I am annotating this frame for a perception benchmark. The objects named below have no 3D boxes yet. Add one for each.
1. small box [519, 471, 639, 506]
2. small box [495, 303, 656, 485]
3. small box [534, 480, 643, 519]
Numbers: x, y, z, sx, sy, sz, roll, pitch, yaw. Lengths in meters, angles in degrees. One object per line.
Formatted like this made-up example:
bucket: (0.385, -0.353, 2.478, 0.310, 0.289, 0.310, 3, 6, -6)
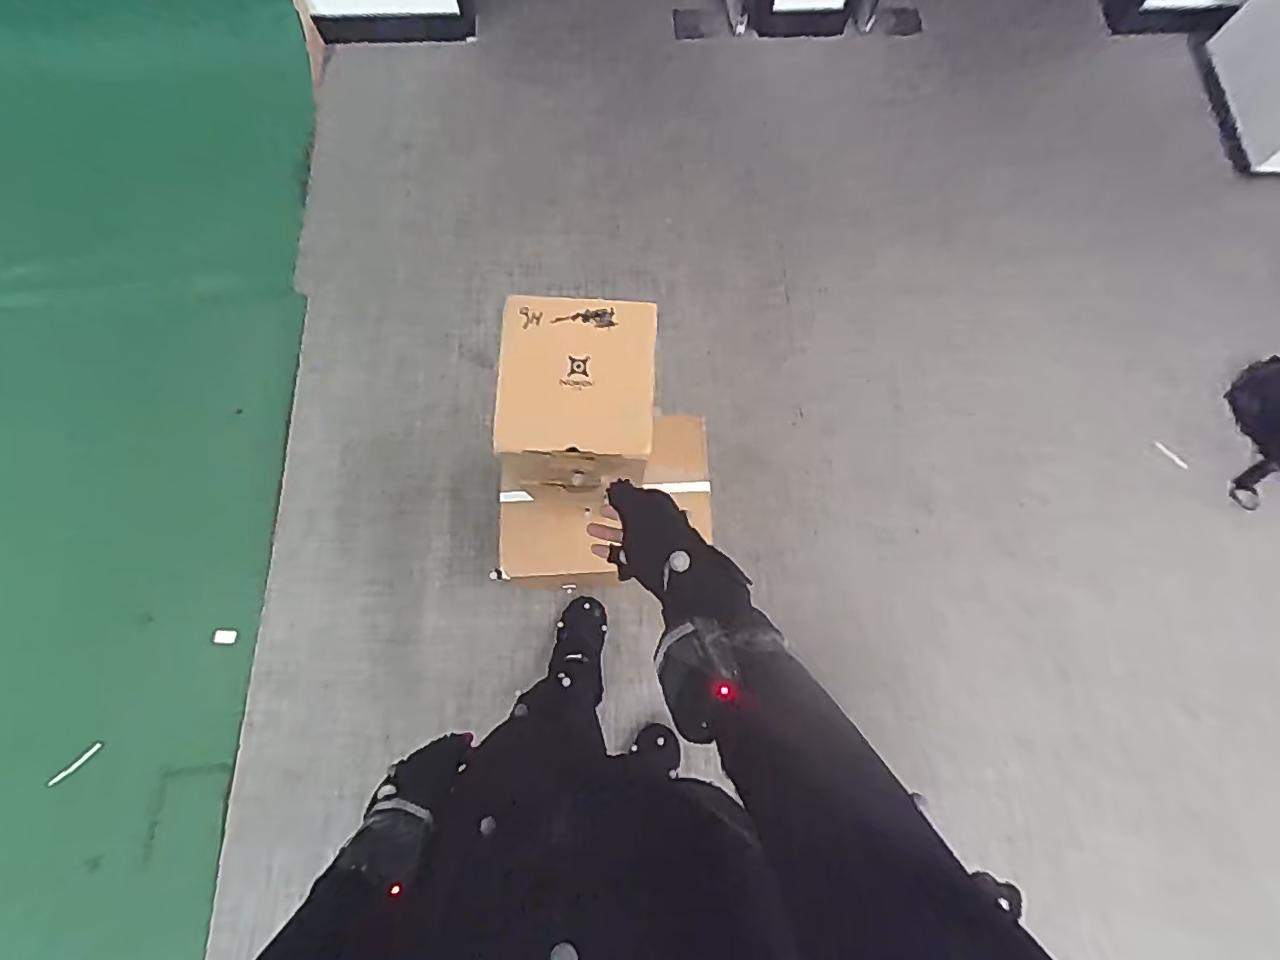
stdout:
small box: (-0.083, -0.057, 0.816, 0.168, 0.176, 0.179, 1, 78, -3)
small box: (-0.069, -0.091, 0.657, 0.168, 0.176, 0.179, 3, 80, -2)
small box: (-0.083, -0.024, 0.972, 0.179, 0.176, 0.168, 4, 78, -1)
